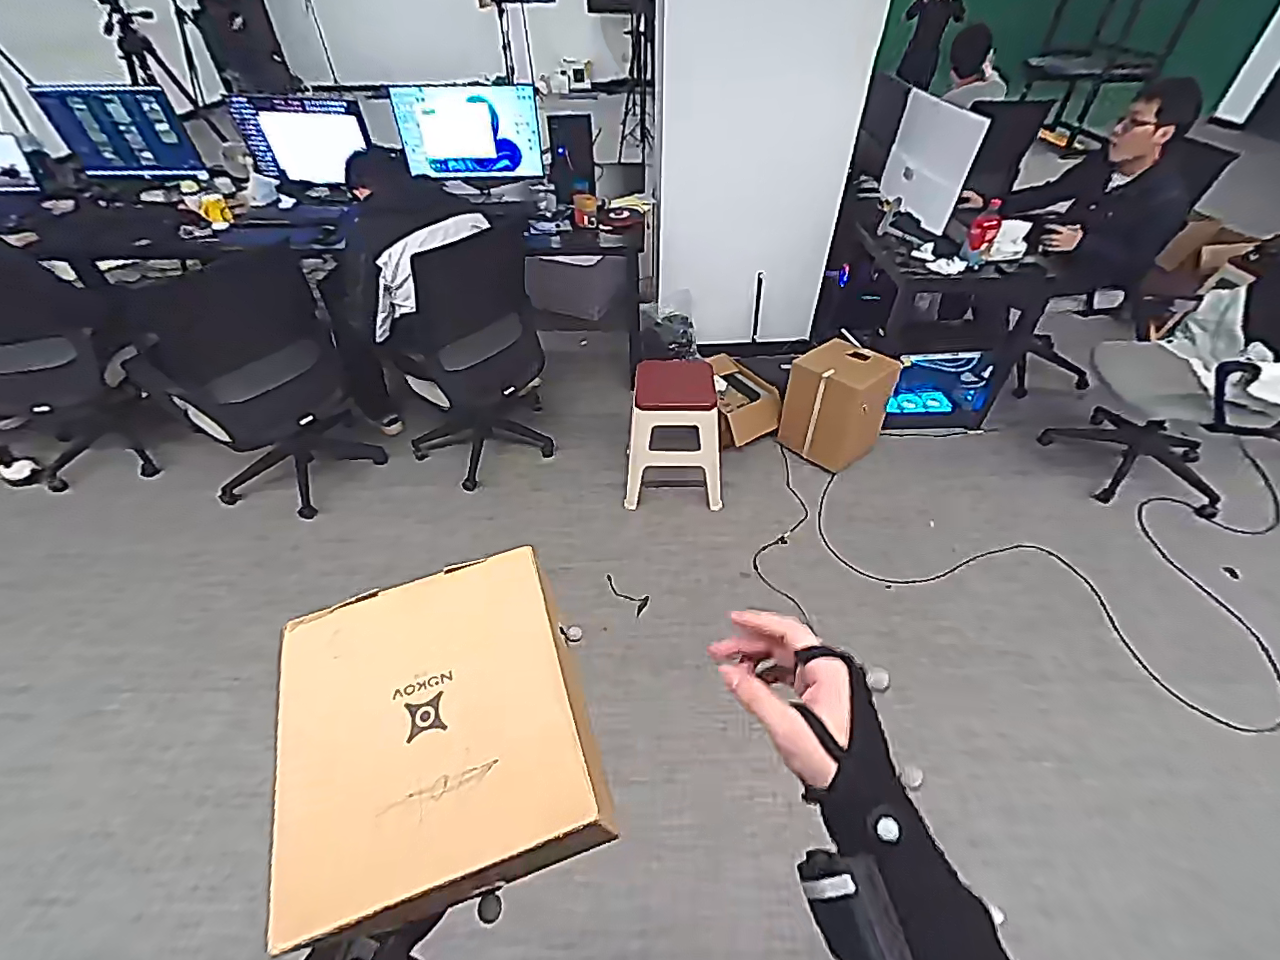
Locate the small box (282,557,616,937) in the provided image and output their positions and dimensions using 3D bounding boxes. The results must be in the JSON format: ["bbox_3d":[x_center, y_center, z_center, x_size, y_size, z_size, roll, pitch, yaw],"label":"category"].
[{"bbox_3d":[-0.122,0.188,0.391,0.168,0.176,0.179,-17,55,-9],"label":"small box"}]
